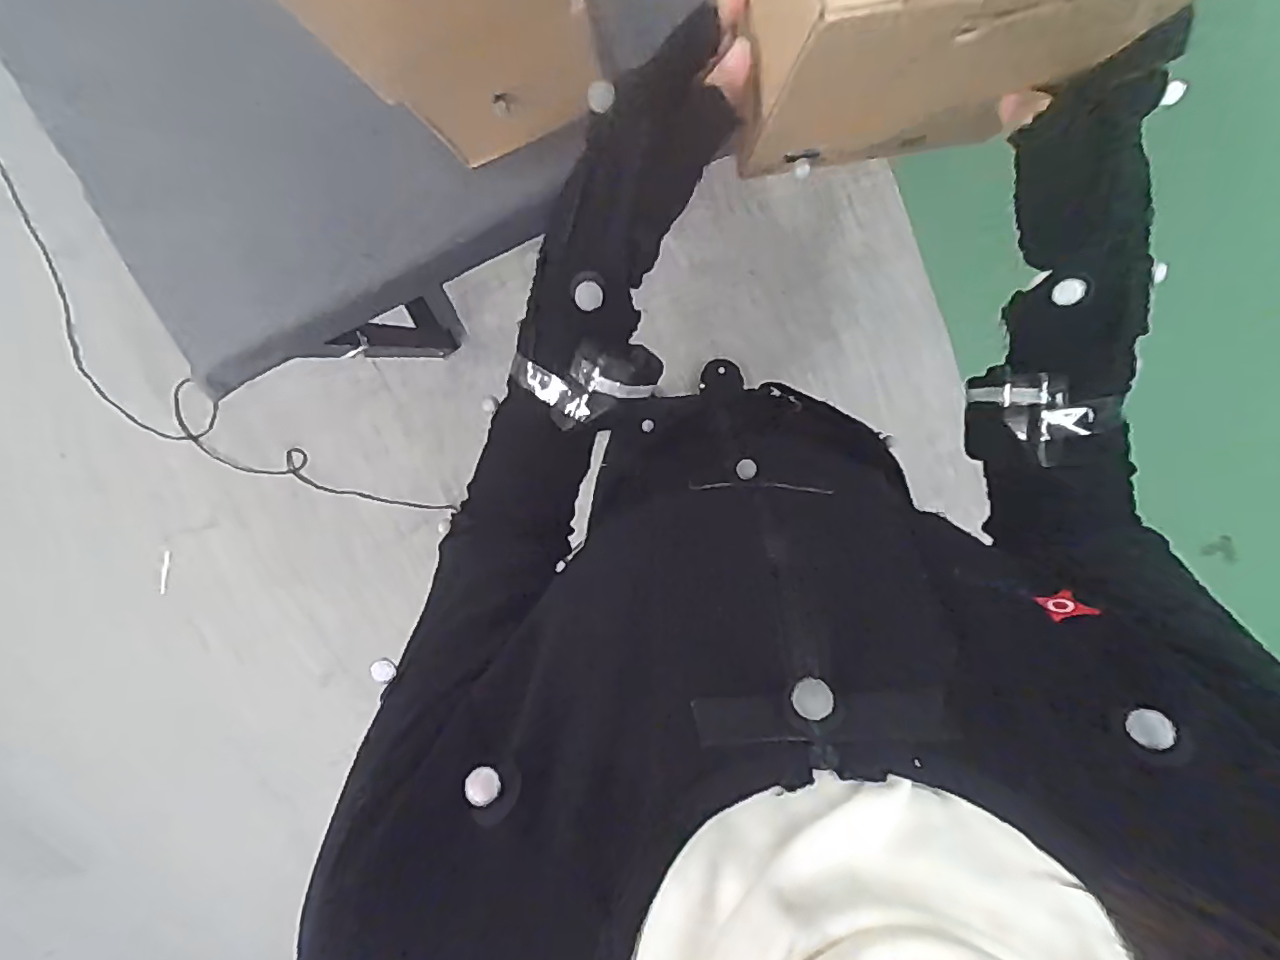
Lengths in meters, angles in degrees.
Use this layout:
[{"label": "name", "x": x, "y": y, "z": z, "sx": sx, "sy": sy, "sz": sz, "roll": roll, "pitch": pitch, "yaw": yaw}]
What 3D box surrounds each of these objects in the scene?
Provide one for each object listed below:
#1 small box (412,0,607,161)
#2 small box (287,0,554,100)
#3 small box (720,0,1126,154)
[{"label": "small box", "x": -0.147, "y": -0.452, "z": 0.529, "sx": 0.179, "sy": 0.176, "sz": 0.168, "roll": -20, "pitch": 99, "yaw": 8}, {"label": "small box", "x": -0.169, "y": -0.416, "z": 0.371, "sx": 0.179, "sy": 0.176, "sz": 0.168, "roll": -22, "pitch": 97, "yaw": 8}, {"label": "small box", "x": 0.133, "y": -0.286, "z": 0.263, "sx": 0.168, "sy": 0.176, "sz": 0.179, "roll": -9, "pitch": 99, "yaw": 1}]
